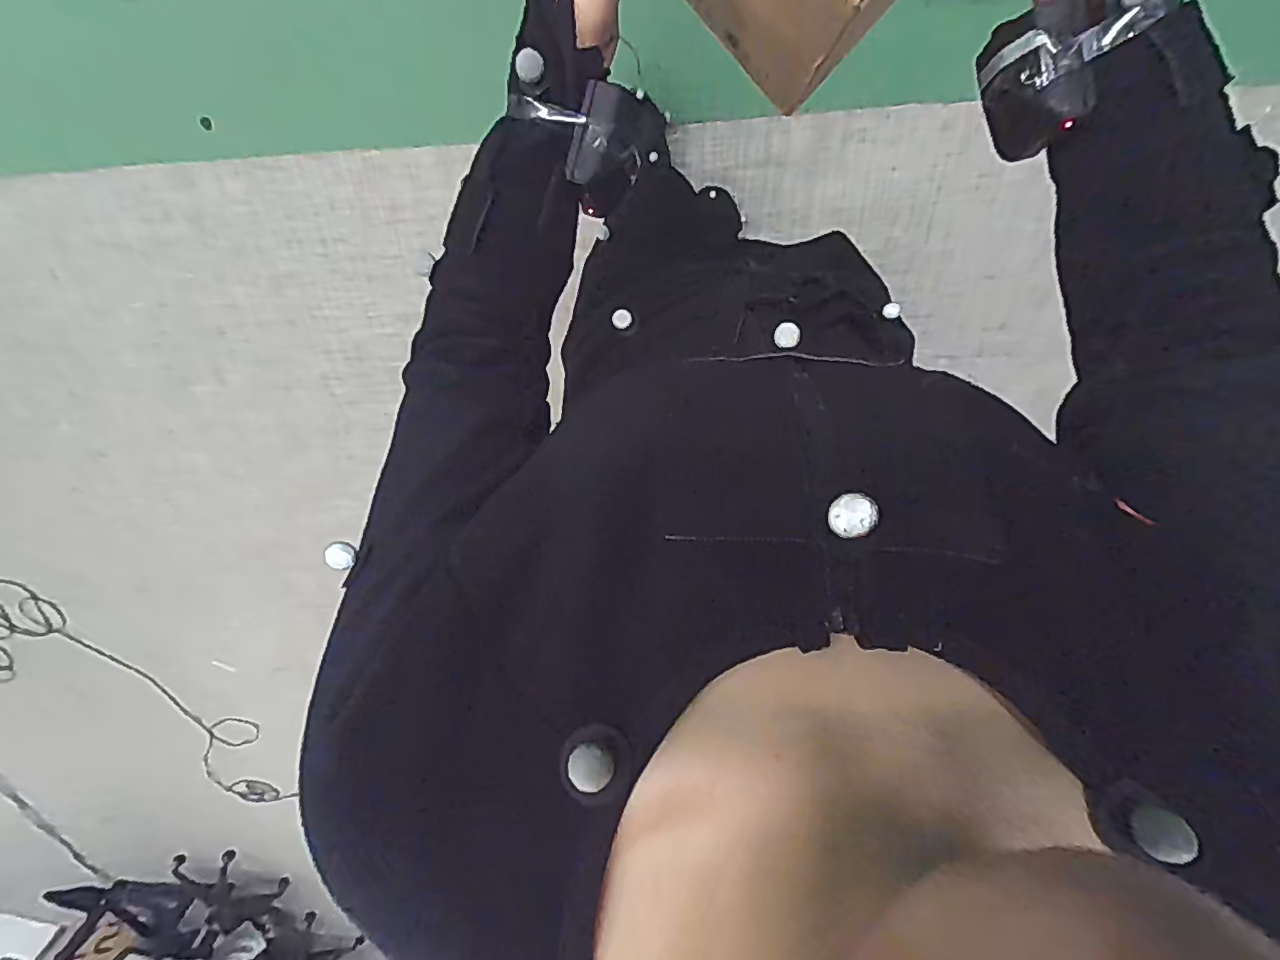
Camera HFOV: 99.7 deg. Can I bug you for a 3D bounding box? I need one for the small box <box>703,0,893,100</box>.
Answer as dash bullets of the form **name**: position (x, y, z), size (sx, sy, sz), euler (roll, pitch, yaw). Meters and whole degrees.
- **small box**: position (0.099, -0.344, 0.272), size (0.168, 0.176, 0.179), euler (42, 108, -10)
